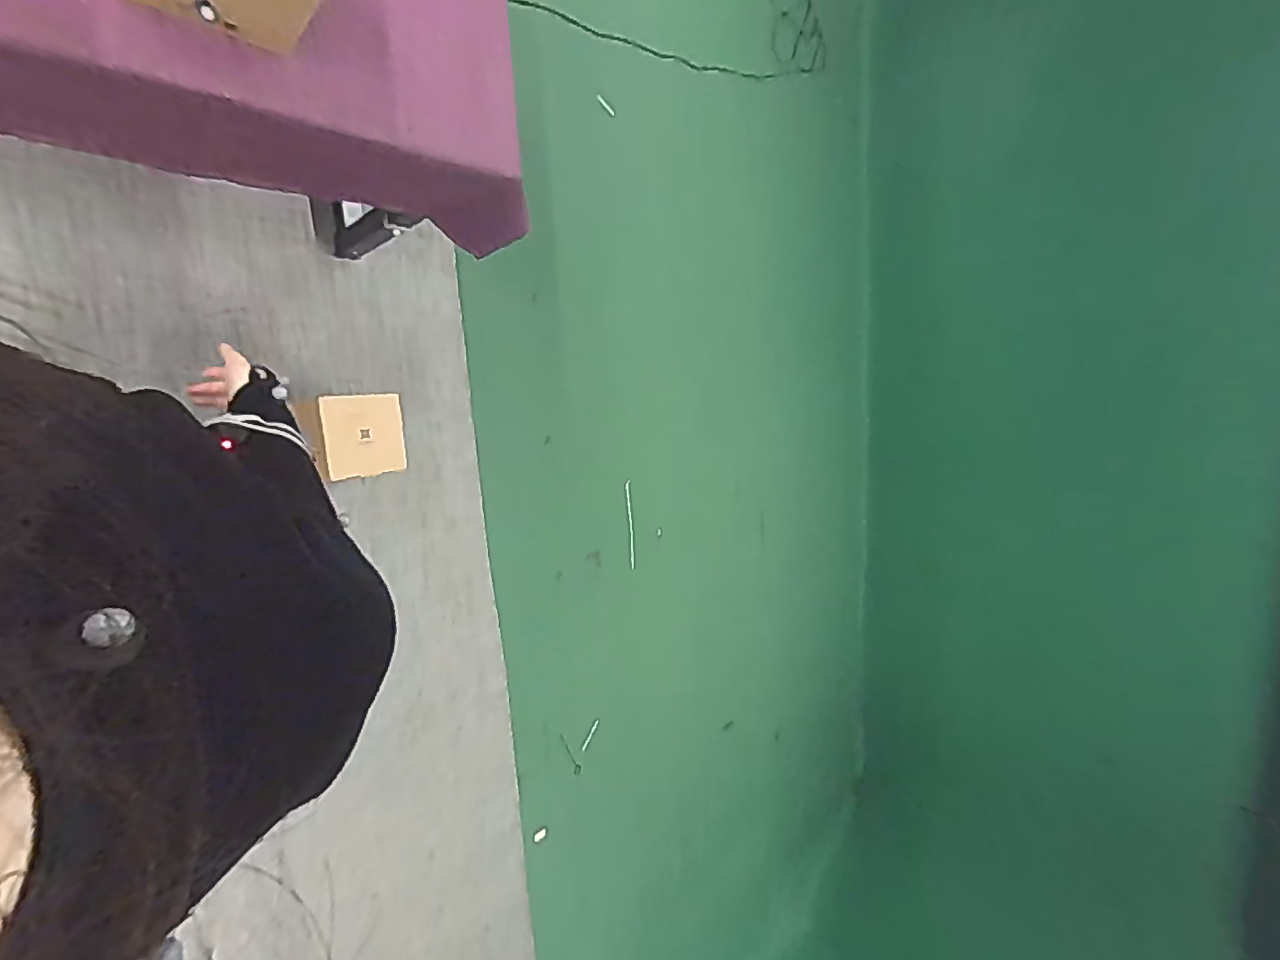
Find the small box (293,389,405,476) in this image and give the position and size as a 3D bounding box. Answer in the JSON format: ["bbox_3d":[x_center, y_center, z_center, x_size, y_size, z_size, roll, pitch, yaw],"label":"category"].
[{"bbox_3d":[-0.651,-0.112,1.213,0.168,0.176,0.179,-14,104,-47],"label":"small box"}]

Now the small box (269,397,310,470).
[{"bbox_3d":[-0.777,-0.121,1.316,0.179,0.176,0.168,-17,107,-46],"label":"small box"}]
